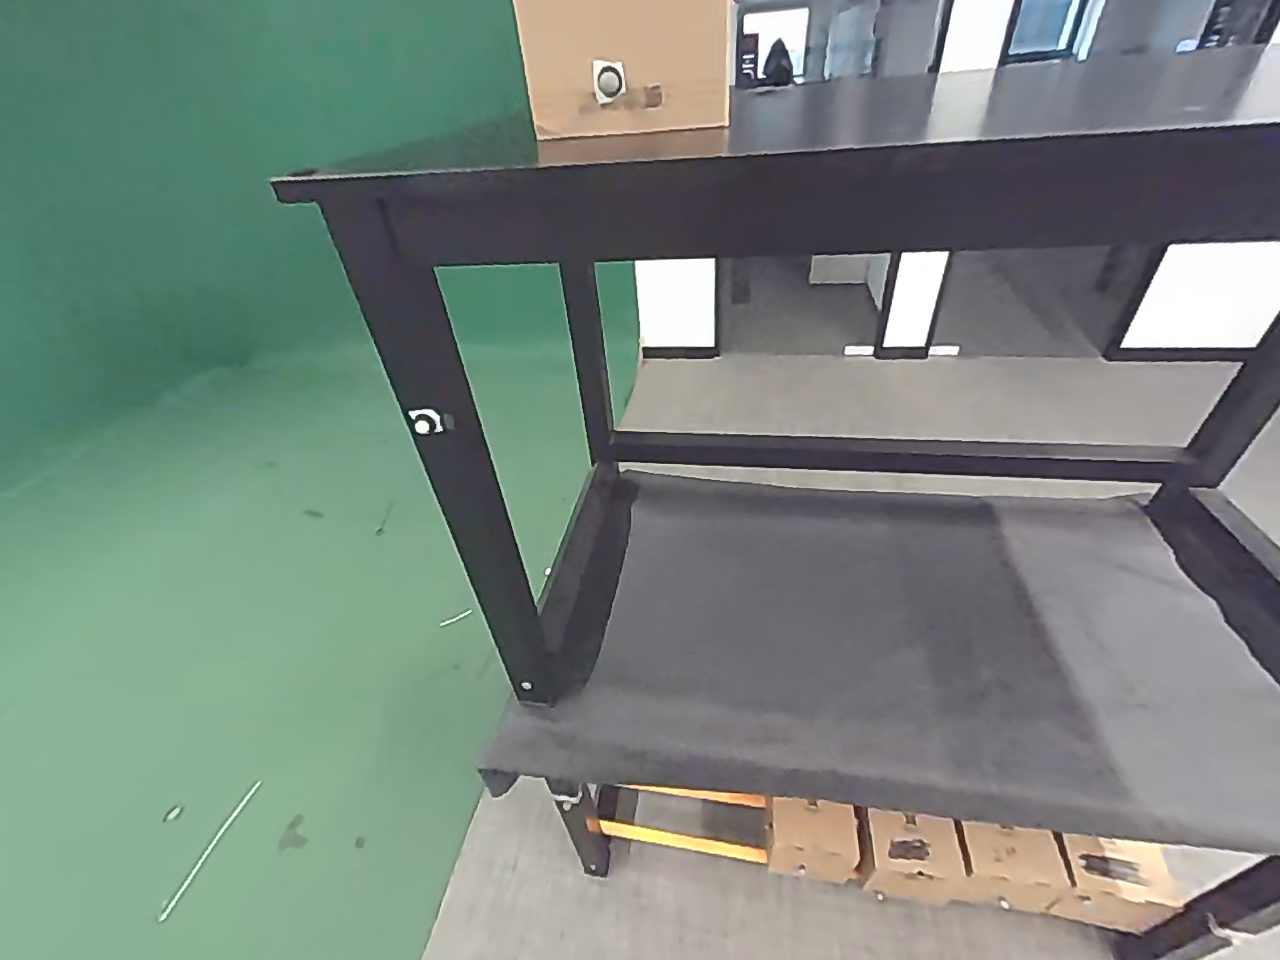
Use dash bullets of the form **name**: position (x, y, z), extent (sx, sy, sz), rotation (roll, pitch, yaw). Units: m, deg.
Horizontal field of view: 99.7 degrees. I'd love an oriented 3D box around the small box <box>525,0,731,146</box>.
- **small box**: position (-0.003, -0.408, 0.483), extent (0.168, 0.176, 0.179), rotation (0, 39, 8)
